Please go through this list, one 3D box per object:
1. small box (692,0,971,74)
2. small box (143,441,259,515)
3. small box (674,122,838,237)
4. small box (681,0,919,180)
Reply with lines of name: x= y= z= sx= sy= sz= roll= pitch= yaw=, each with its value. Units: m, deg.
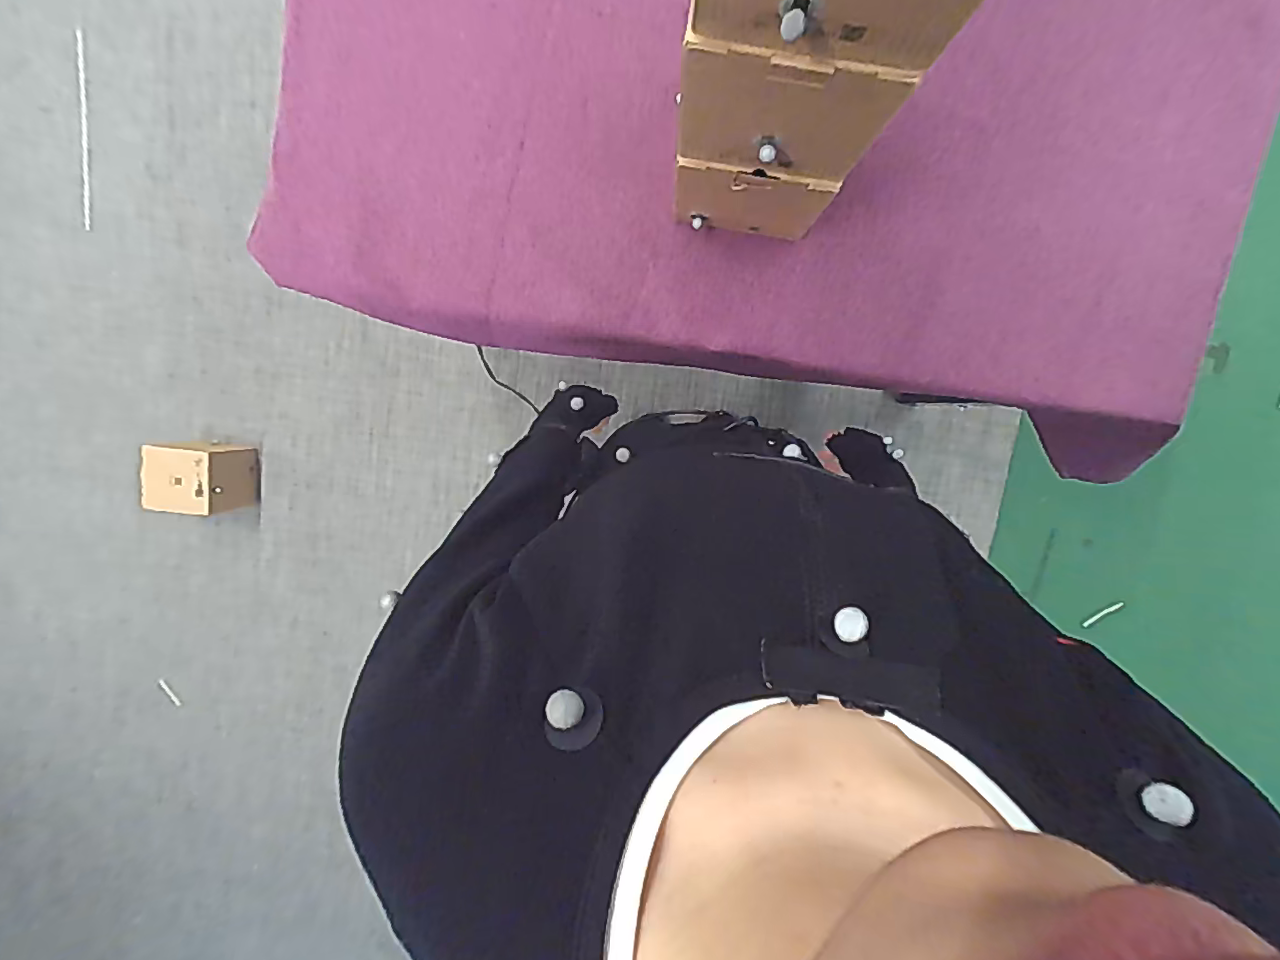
small box: x=0.123 y=-0.365 z=0.281 sx=0.168 sy=0.176 sz=0.179 roll=10 pitch=98 yaw=1
small box: x=-1.165 y=-0.012 z=1.442 sx=0.179 sy=0.176 sz=0.168 roll=7 pitch=98 yaw=2
small box: x=0.134 y=-0.395 z=0.606 sx=0.168 sy=0.176 sz=0.179 roll=11 pitch=97 yaw=1
small box: x=0.128 y=-0.382 z=0.442 sx=0.168 sy=0.176 sz=0.179 roll=10 pitch=98 yaw=1
